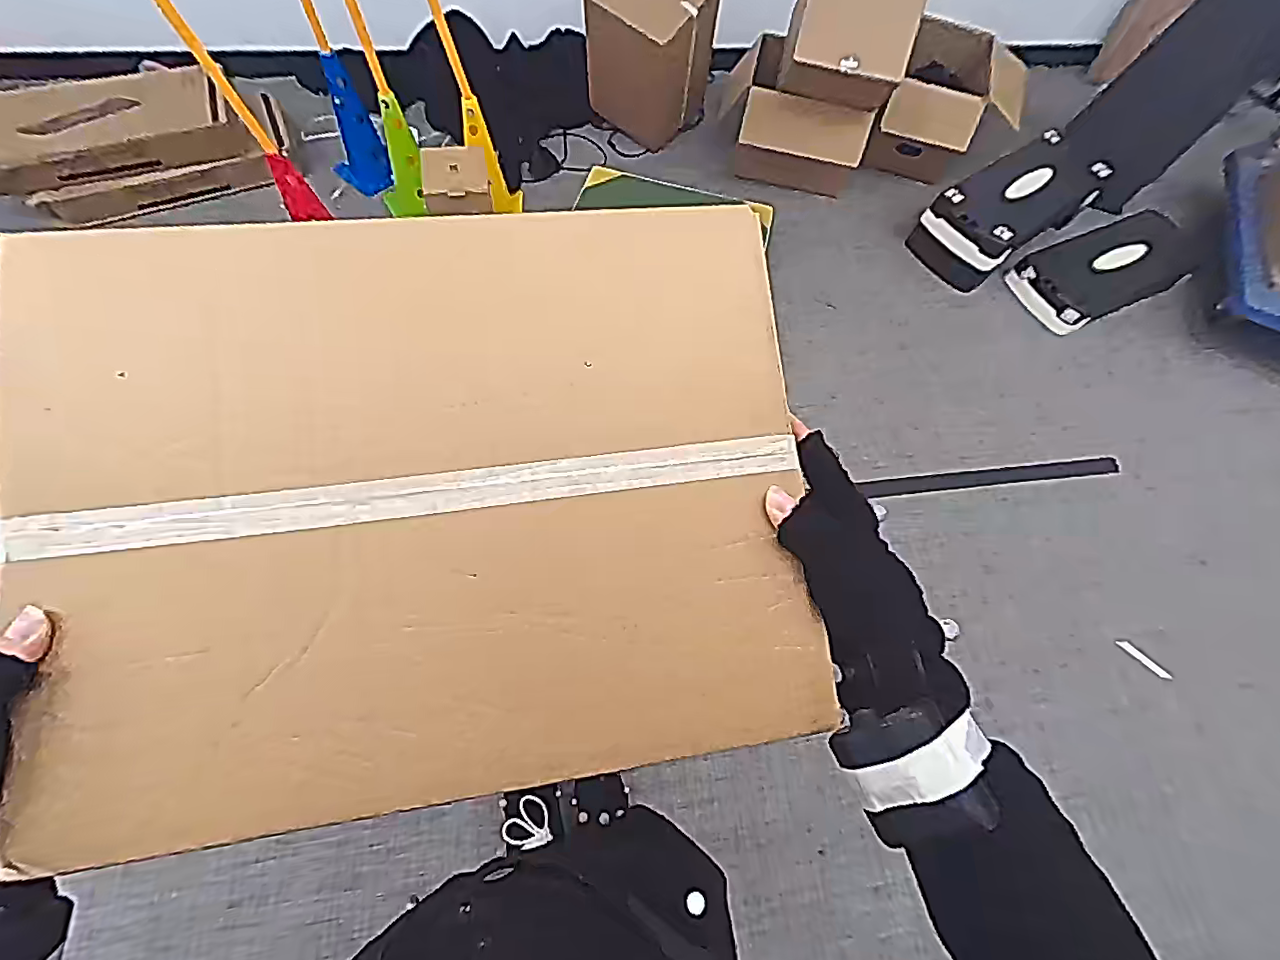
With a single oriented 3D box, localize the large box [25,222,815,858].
[{"bbox_3d":[-0.128,0.026,0.448,0.408,0.320,0.320,-6,83,-8],"label":"large box"}]
